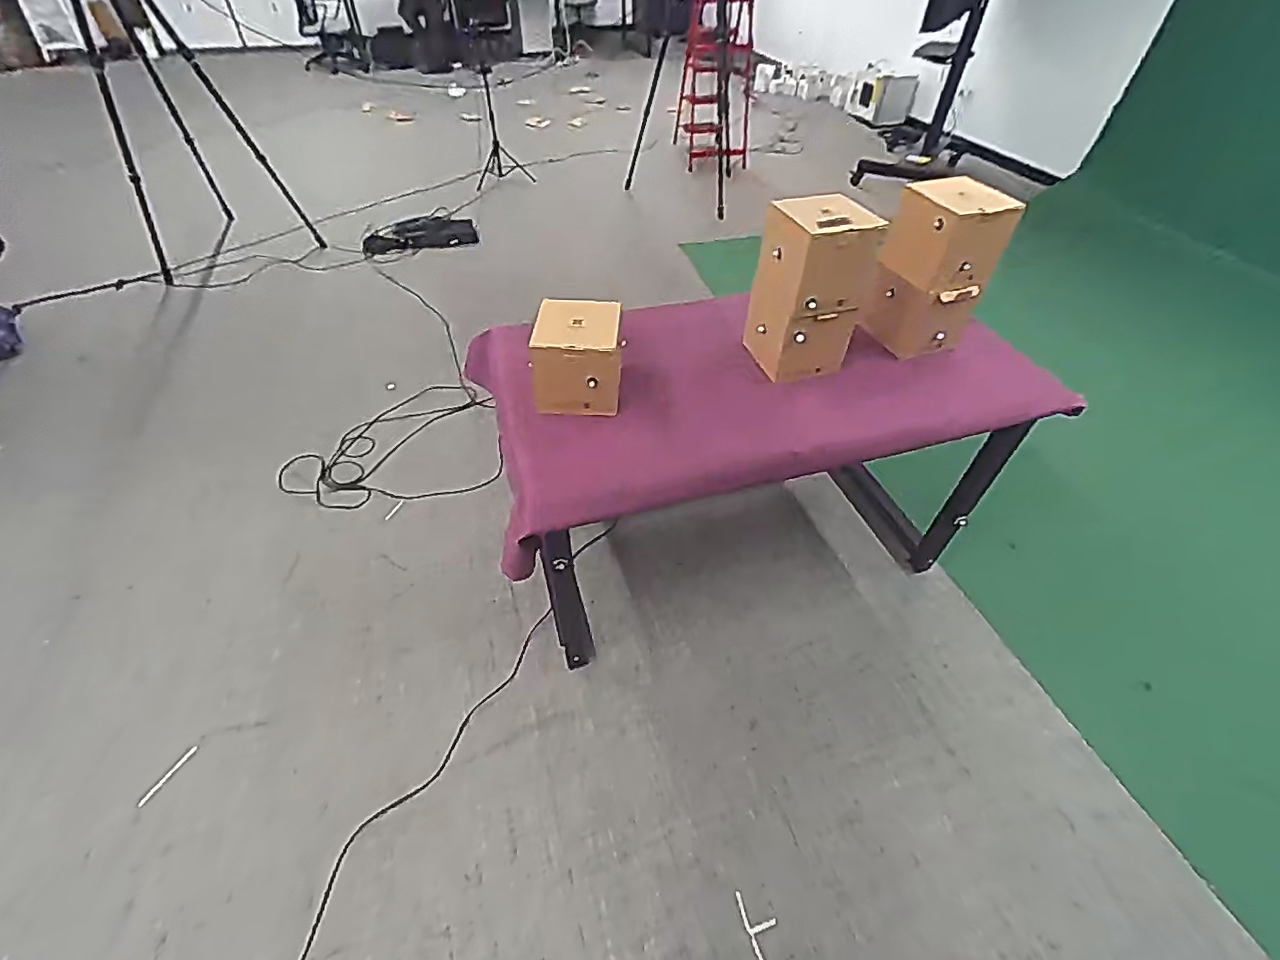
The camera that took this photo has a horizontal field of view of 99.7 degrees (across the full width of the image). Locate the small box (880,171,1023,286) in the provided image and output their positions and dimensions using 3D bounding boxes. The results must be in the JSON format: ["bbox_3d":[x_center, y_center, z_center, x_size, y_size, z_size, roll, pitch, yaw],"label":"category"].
[{"bbox_3d":[0.658,-0.543,1.170,0.168,0.176,0.179,-14,51,-14],"label":"small box"}]

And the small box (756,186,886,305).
[{"bbox_3d":[0.353,-0.467,1.090,0.168,0.176,0.179,-12,48,-13],"label":"small box"}]

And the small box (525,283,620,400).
[{"bbox_3d":[-0.129,-0.281,1.107,0.168,0.176,0.179,3,48,0],"label":"small box"}]

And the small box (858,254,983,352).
[{"bbox_3d":[0.653,-0.431,1.288,0.168,0.176,0.179,-15,50,-14],"label":"small box"}]
